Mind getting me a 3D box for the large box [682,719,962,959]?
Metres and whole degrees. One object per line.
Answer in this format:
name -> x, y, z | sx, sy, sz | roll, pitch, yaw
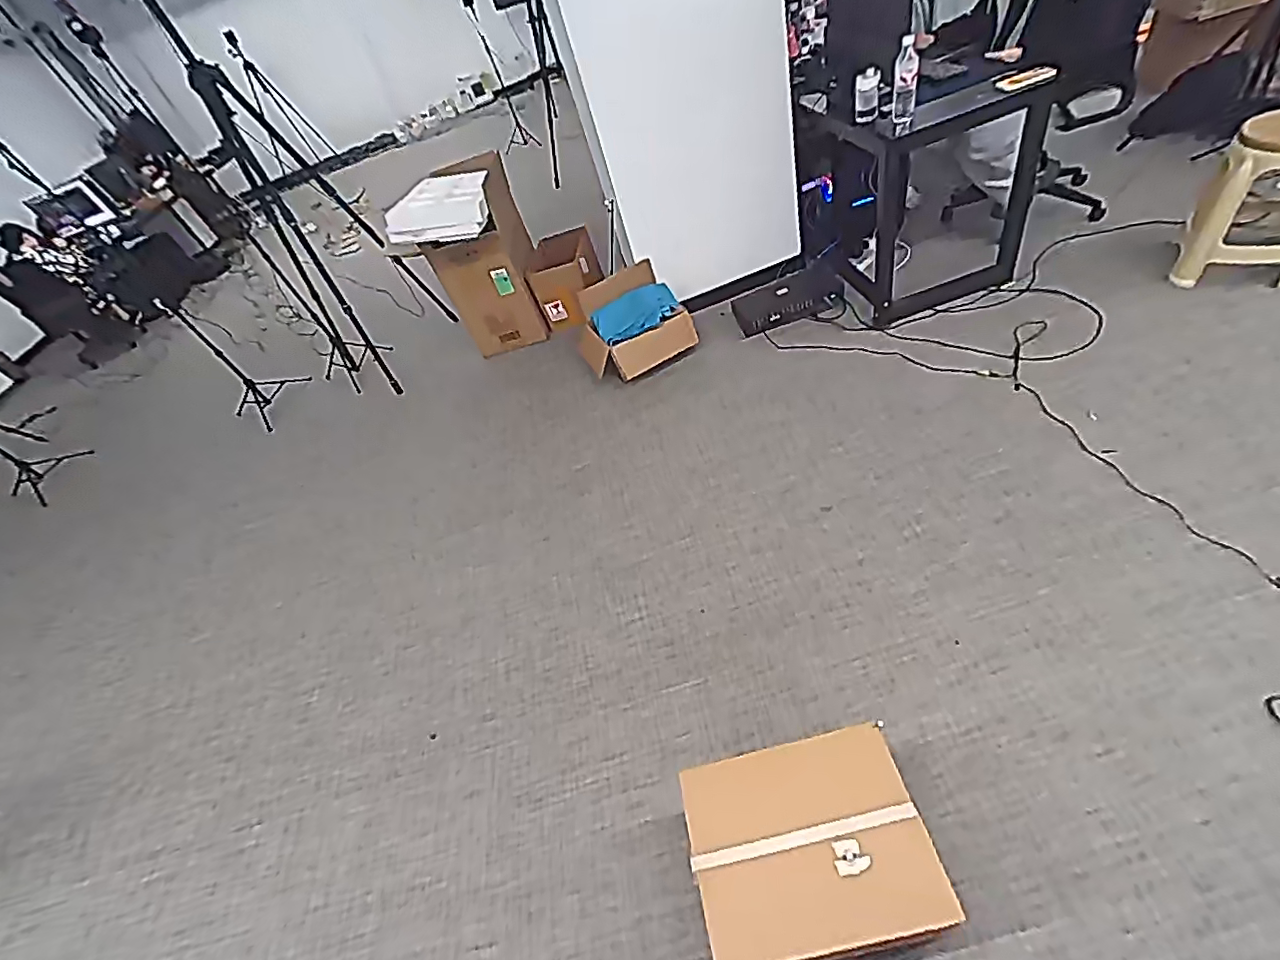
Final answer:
large box -> 0.334, 0.732, 1.069 | 0.408, 0.320, 0.320 | -17, 45, 4
